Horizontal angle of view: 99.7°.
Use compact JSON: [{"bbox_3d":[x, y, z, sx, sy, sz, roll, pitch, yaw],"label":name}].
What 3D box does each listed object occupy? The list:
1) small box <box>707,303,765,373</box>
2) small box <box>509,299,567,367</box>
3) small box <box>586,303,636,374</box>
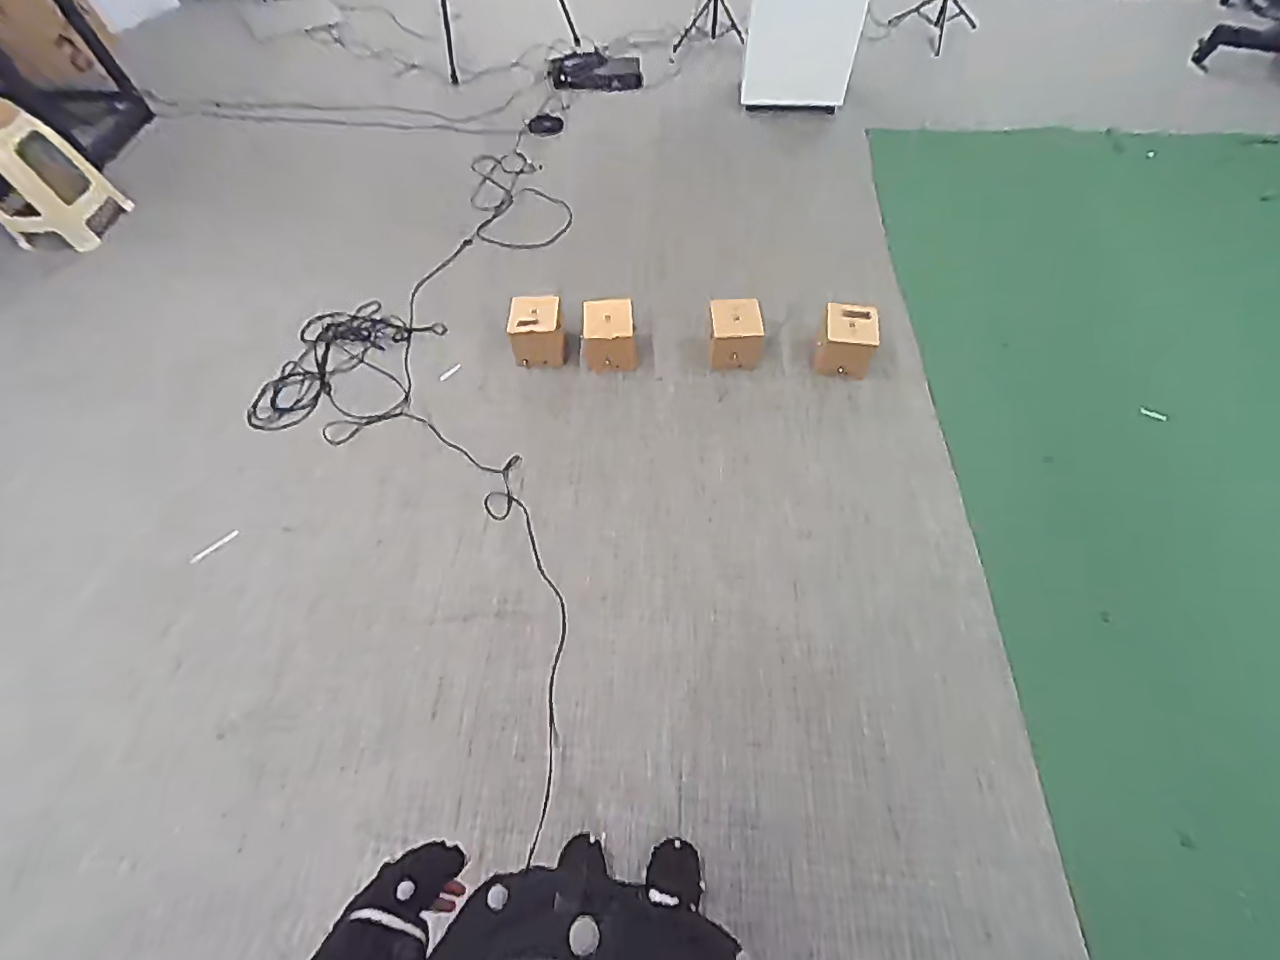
[{"bbox_3d":[0.327,-0.487,1.873,0.168,0.176,0.179,-2,59,-1],"label":"small box"},{"bbox_3d":[-0.353,-0.514,1.906,0.168,0.176,0.179,0,58,1],"label":"small box"},{"bbox_3d":[-0.100,-0.491,1.886,0.168,0.176,0.179,-3,60,0],"label":"small box"}]
